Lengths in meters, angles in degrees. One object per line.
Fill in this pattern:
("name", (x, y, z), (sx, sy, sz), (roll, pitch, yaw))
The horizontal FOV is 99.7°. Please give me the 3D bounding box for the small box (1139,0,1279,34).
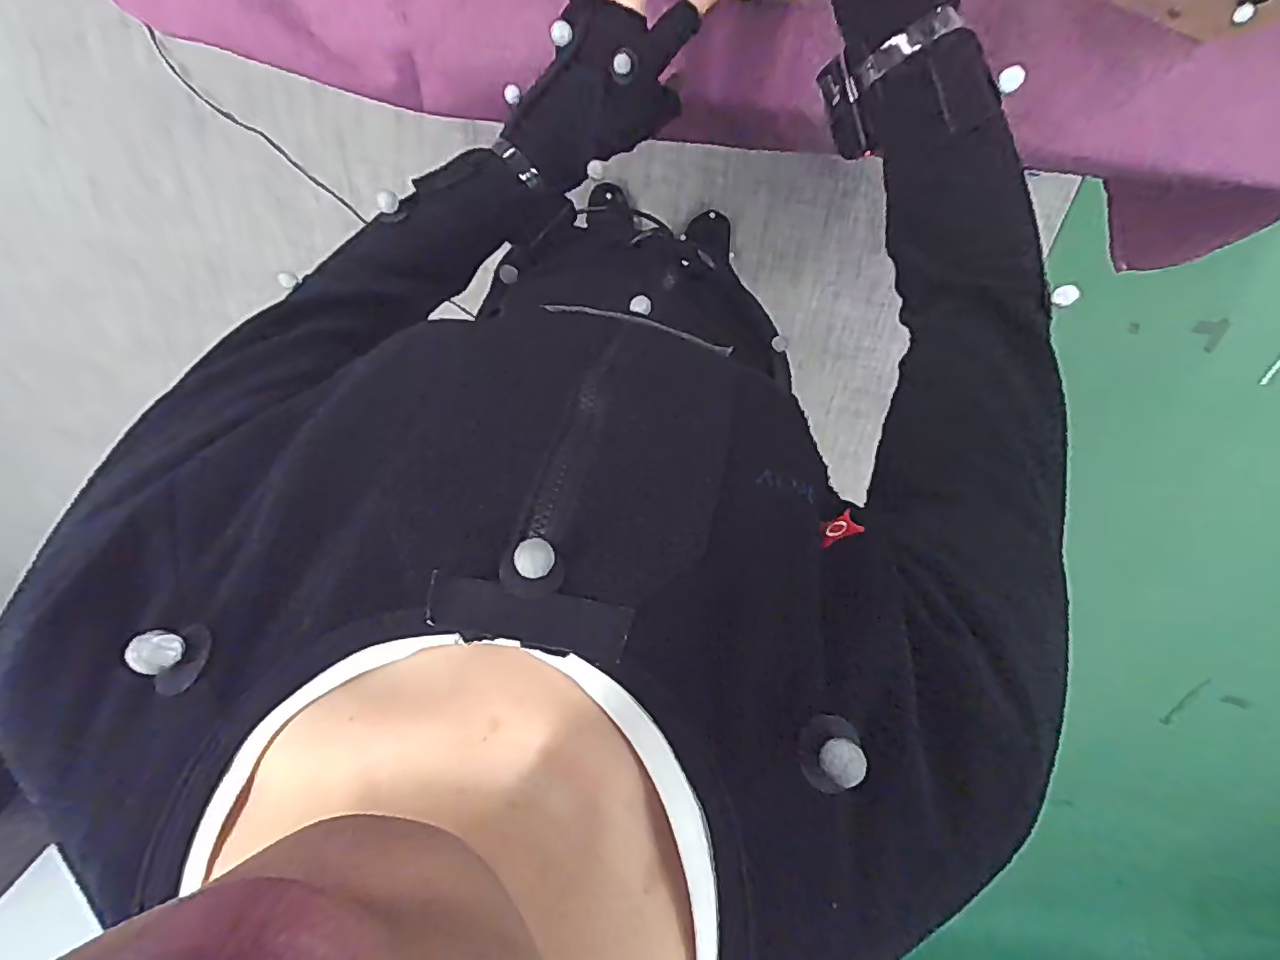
("small box", (0.468, -0.459, 0.381), (0.168, 0.176, 0.179), (17, 118, -5))
